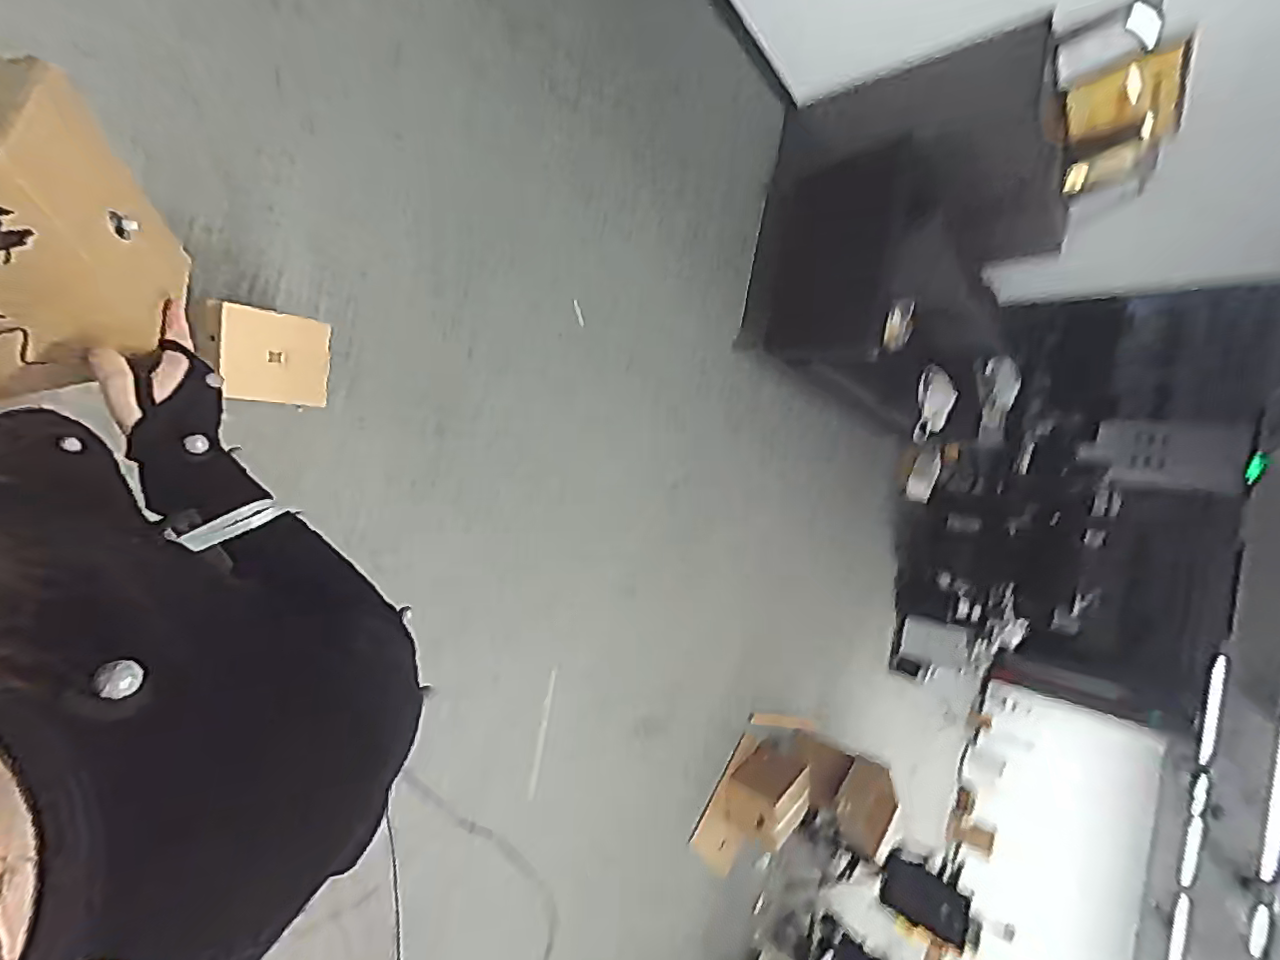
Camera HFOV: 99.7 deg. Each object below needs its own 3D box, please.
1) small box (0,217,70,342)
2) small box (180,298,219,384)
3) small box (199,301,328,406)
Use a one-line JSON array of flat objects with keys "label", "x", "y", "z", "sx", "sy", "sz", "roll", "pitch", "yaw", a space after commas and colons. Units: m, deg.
[{"label": "small box", "x": -1.082, "y": -0.339, "z": 0.896, "sx": 0.168, "sy": 0.176, "sz": 0.179, "roll": 12, "pitch": 87, "yaw": -49}, {"label": "small box", "x": -0.857, "y": -0.274, "z": 1.162, "sx": 0.179, "sy": 0.176, "sz": 0.168, "roll": 9, "pitch": 91, "yaw": -49}, {"label": "small box", "x": -0.738, "y": -0.238, "z": 1.056, "sx": 0.179, "sy": 0.176, "sz": 0.168, "roll": 1, "pitch": 97, "yaw": -49}]
